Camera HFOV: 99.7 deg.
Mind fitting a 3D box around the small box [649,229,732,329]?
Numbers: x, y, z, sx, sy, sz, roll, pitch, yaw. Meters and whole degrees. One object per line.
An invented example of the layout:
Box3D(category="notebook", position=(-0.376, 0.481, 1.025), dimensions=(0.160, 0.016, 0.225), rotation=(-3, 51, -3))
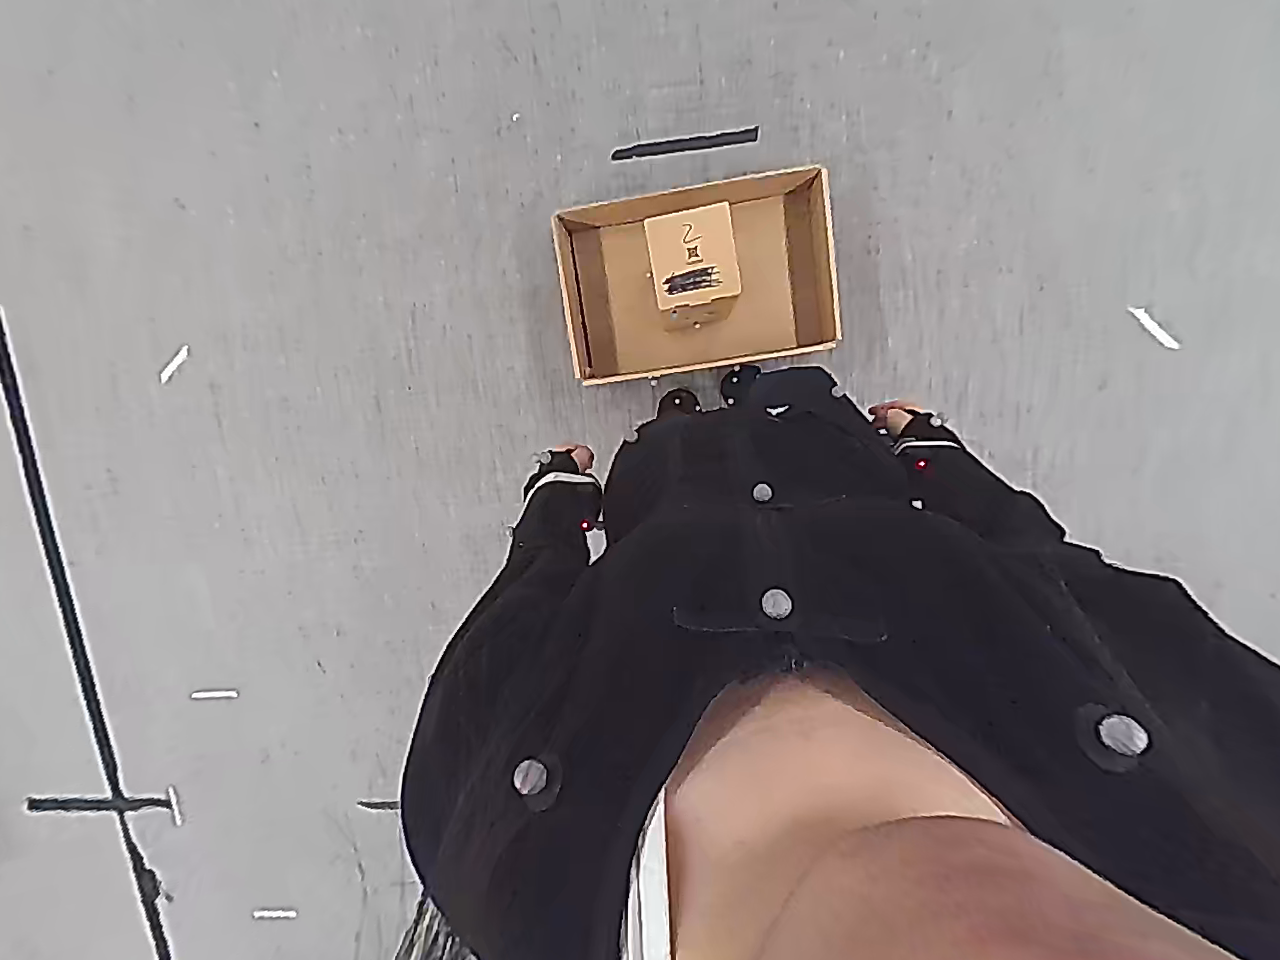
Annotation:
Box3D(category="small box", position=(0.117, -0.468, 1.281), dimensions=(0.168, 0.176, 0.179), rotation=(-9, 99, 6))
